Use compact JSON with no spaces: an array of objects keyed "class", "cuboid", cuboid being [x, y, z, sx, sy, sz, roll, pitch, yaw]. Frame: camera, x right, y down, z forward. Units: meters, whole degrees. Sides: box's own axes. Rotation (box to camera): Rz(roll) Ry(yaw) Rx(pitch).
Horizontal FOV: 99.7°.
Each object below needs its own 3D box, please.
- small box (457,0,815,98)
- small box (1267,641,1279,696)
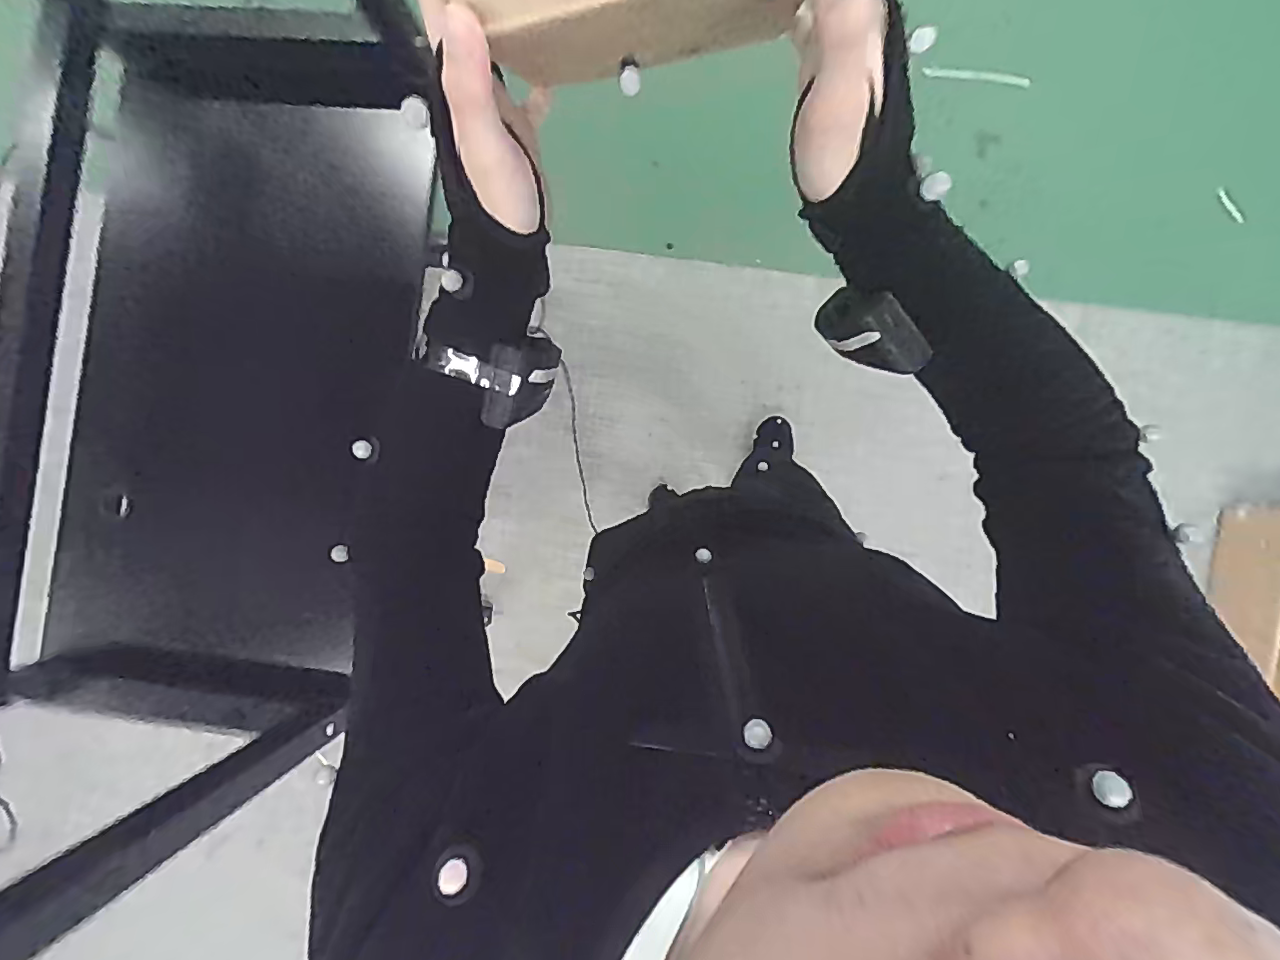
[{"class":"small box","cuboid":[-0.005,-0.318,0.267,0.168,0.176,0.179,-5,118,8]},{"class":"small box","cuboid":[1.807,0.515,1.399,0.179,0.176,0.168,10,89,3]}]
